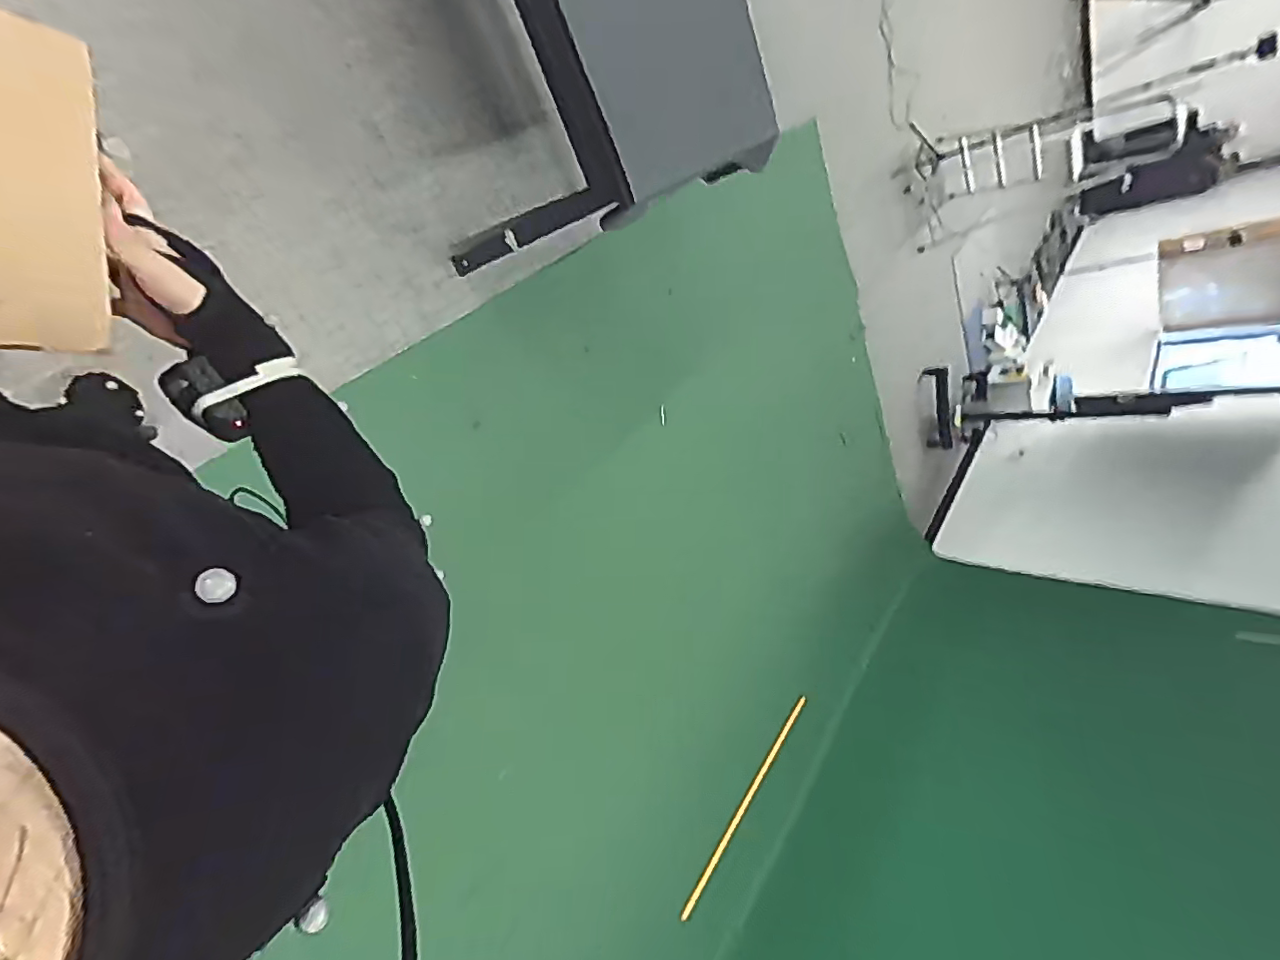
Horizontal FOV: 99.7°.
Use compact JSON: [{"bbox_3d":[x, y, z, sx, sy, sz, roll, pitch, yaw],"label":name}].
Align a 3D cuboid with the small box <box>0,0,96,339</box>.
[{"bbox_3d":[-0.443,-0.188,0.310,0.168,0.176,0.179,-7,112,-48],"label":"small box"}]
